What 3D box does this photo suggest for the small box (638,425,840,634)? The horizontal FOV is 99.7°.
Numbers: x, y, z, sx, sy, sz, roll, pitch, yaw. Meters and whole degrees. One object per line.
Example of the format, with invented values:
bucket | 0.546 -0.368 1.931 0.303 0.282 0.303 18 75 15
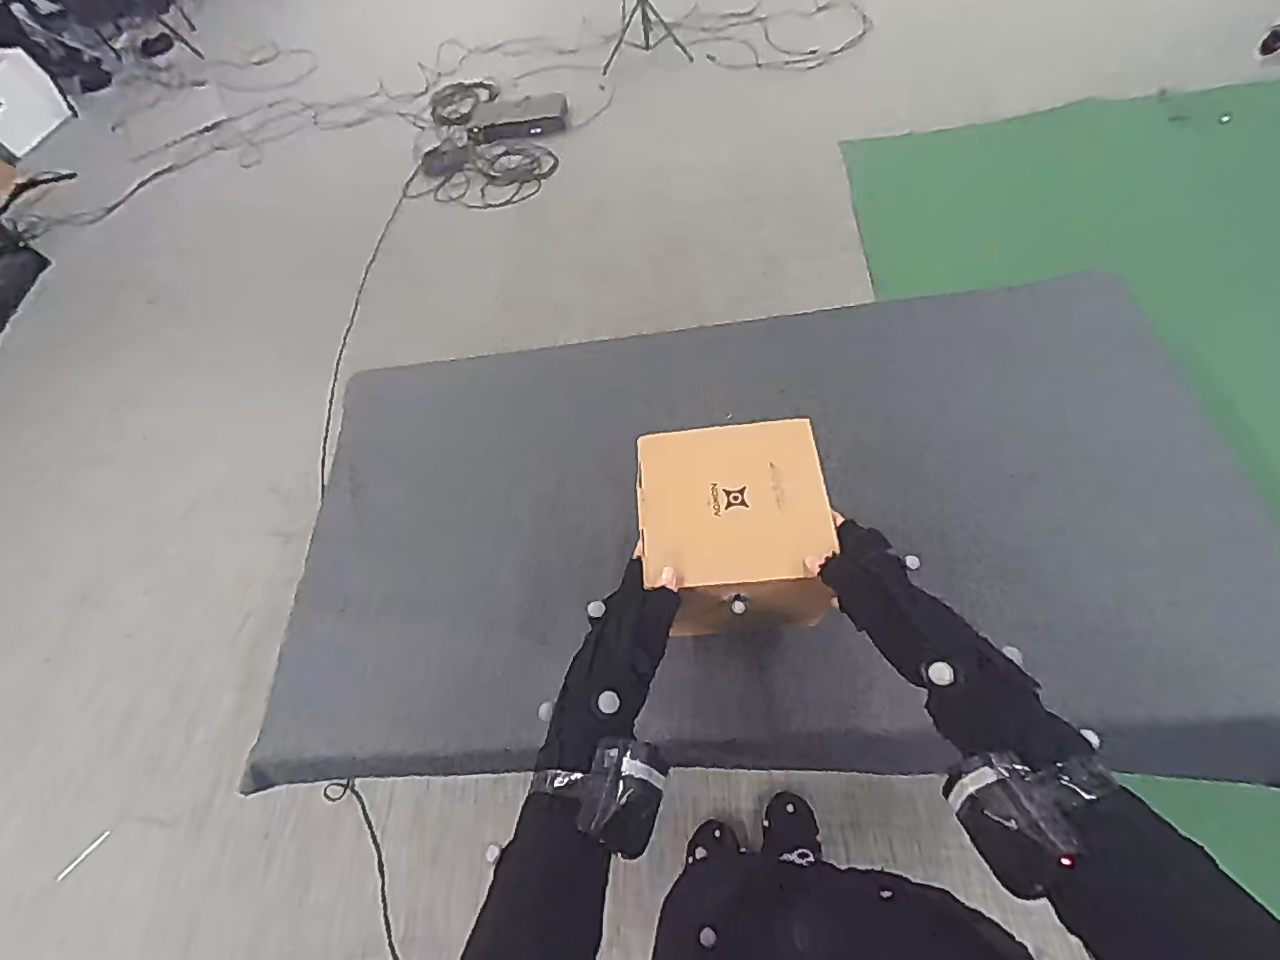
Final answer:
small box | 0.097 0.062 0.589 0.179 0.176 0.168 -6 59 4
